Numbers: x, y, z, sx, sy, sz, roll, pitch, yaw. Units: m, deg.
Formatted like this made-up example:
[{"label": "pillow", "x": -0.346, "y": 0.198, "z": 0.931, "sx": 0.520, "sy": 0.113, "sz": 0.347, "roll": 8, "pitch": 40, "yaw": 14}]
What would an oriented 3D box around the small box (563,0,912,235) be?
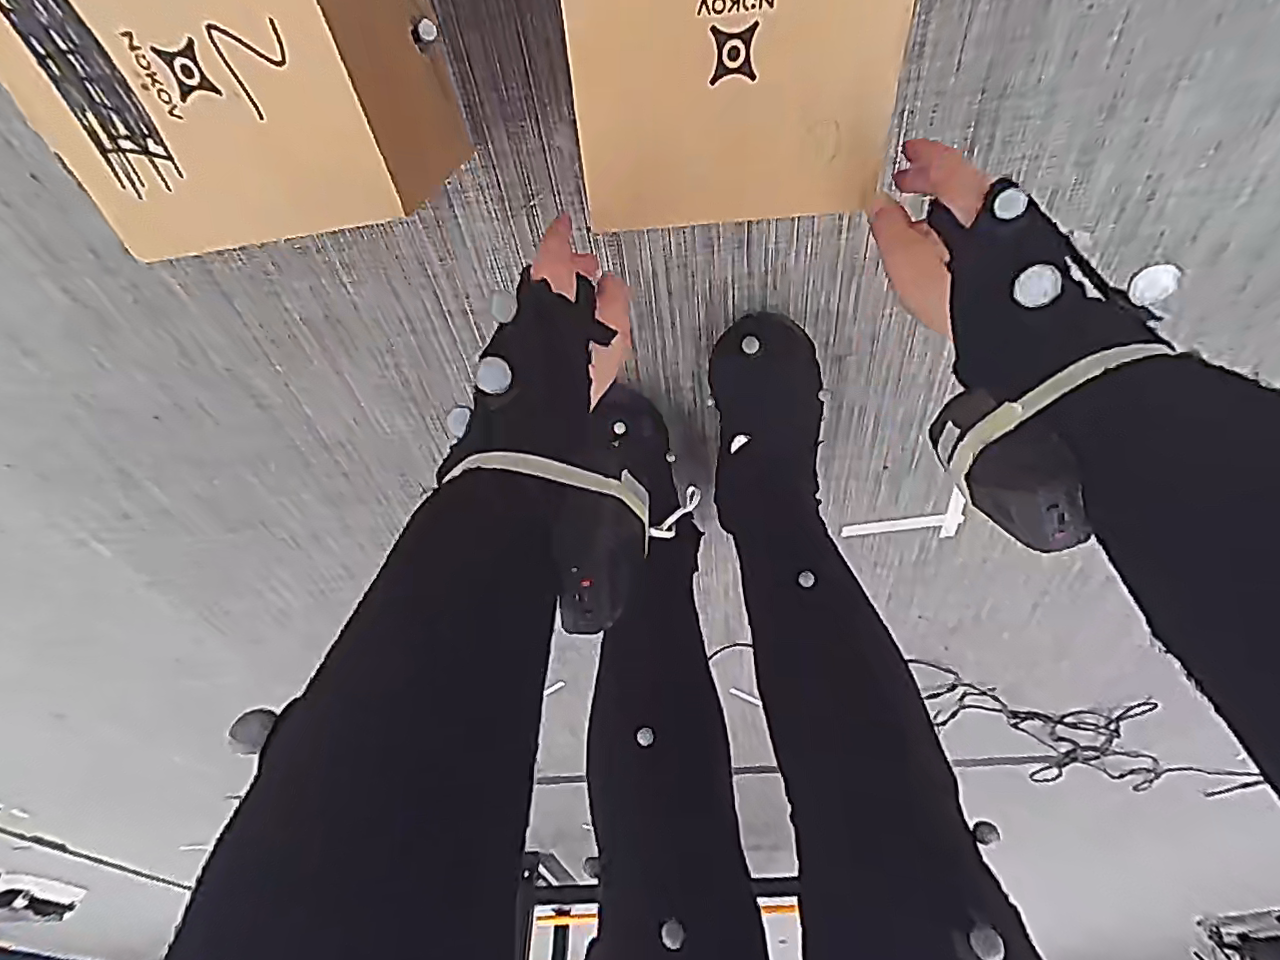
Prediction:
[{"label": "small box", "x": 0.046, "y": -0.268, "z": 0.321, "sx": 0.168, "sy": 0.176, "sz": 0.179, "roll": -4, "pitch": 132, "yaw": 2}]
